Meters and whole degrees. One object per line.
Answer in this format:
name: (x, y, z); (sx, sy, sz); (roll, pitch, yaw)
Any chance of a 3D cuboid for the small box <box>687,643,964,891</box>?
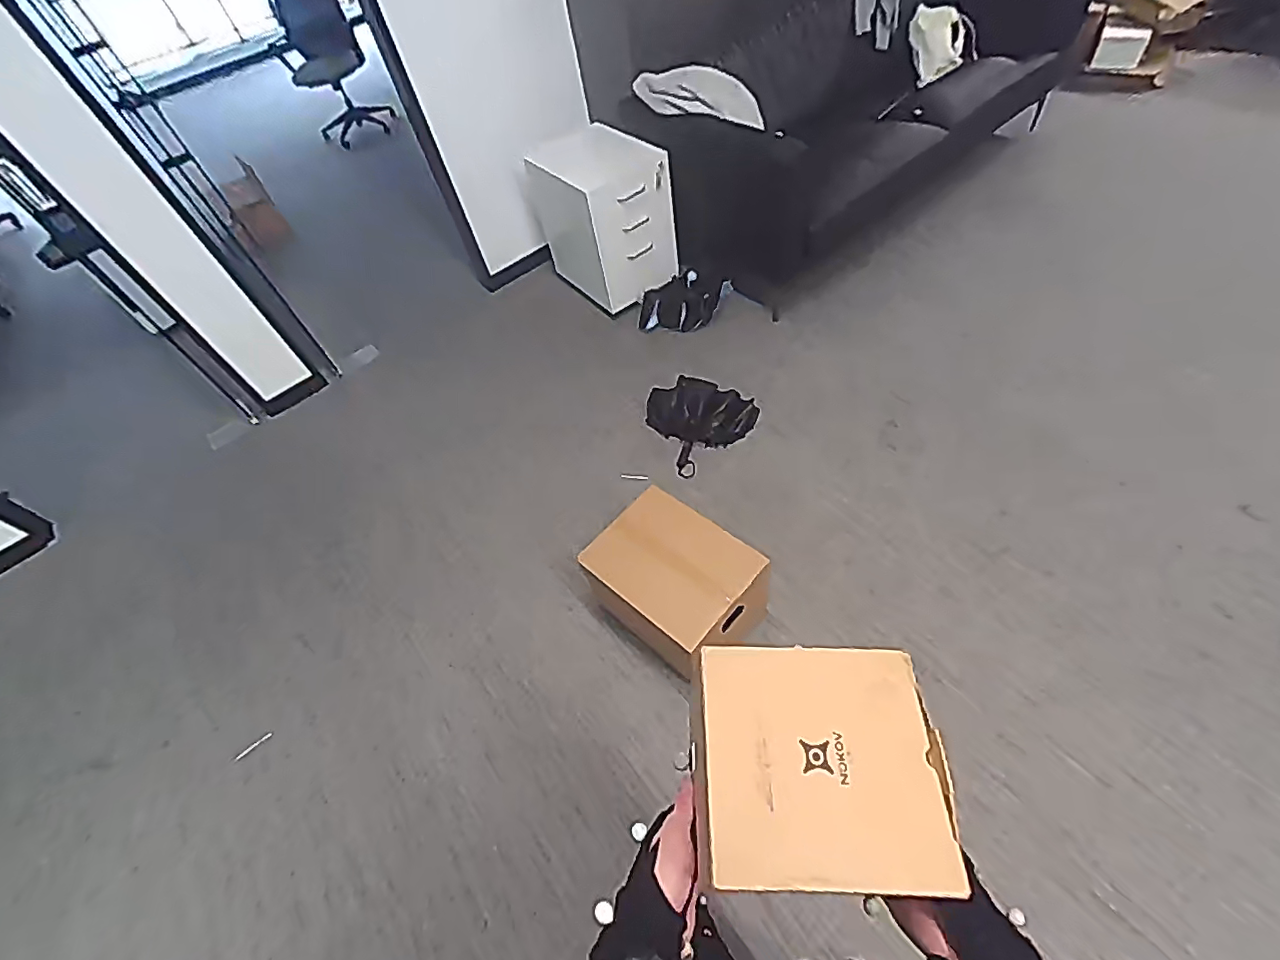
small box: (0.135, 0.252, 0.475); (0.179, 0.176, 0.168); (0, 55, 1)
